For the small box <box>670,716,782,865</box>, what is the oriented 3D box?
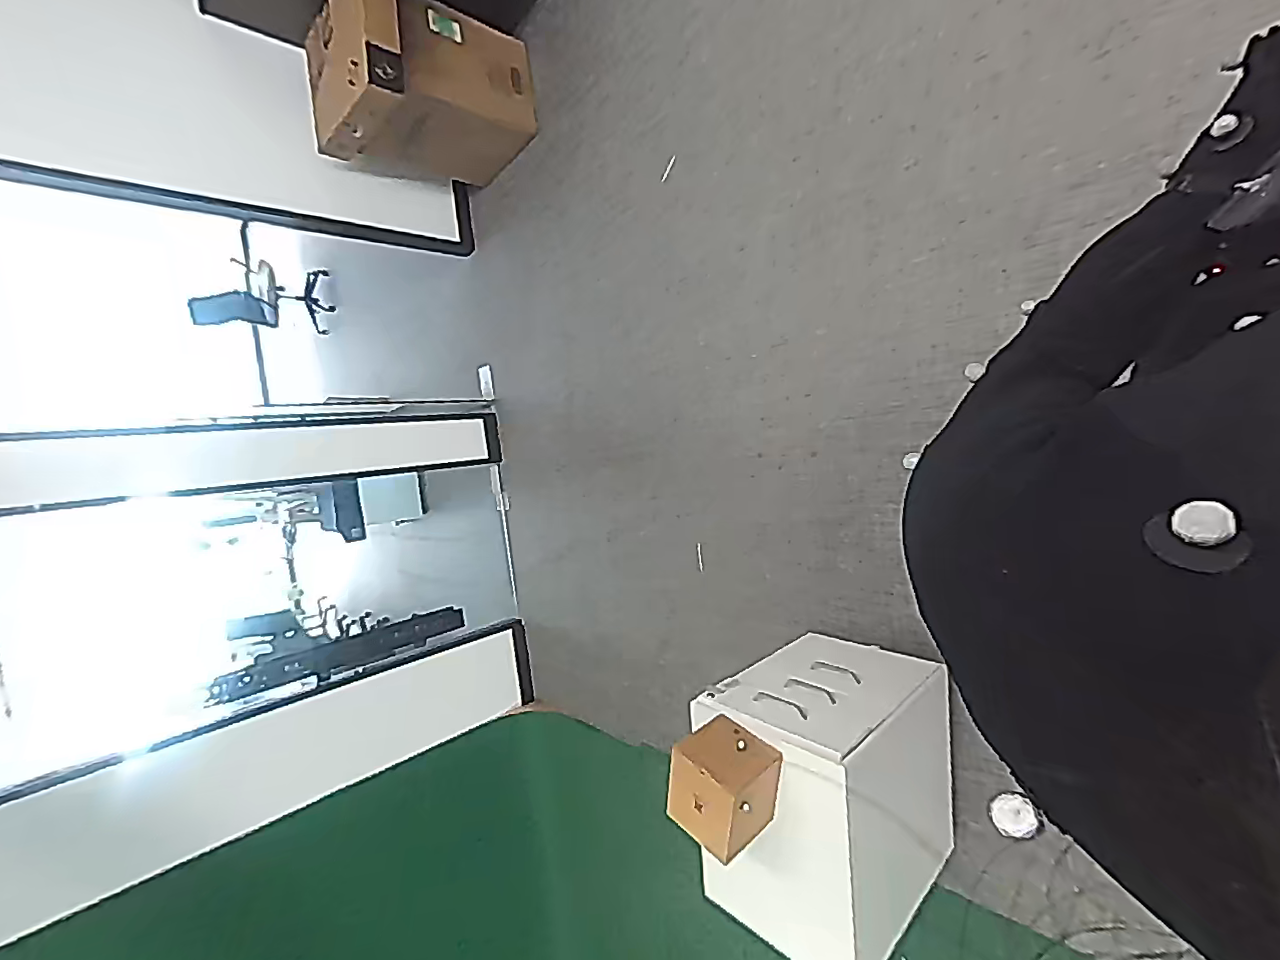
[{"bbox_3d":[0.182,0.644,1.143,0.168,0.176,0.179,18,110,45],"label":"small box"}]
